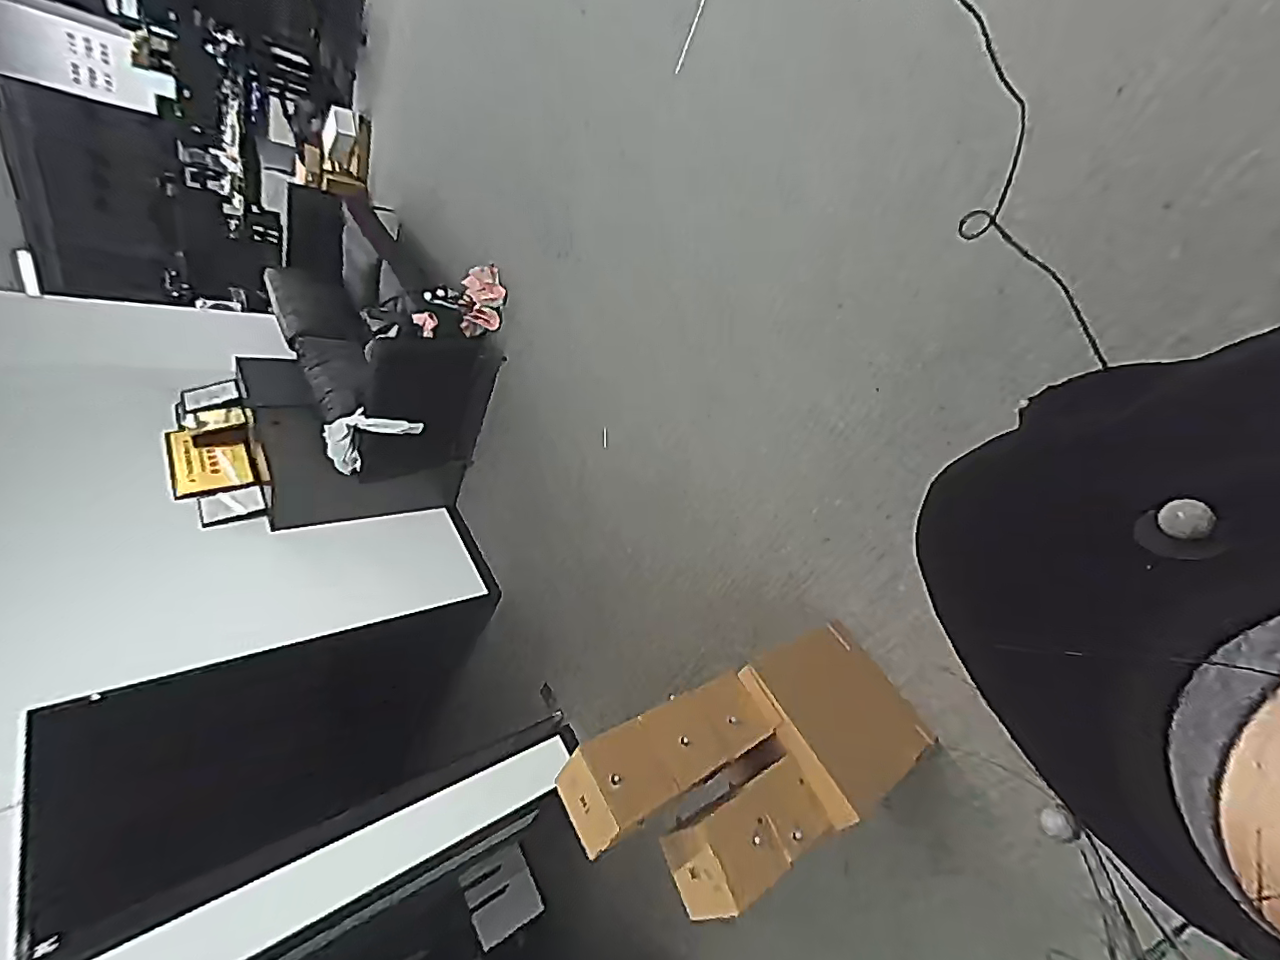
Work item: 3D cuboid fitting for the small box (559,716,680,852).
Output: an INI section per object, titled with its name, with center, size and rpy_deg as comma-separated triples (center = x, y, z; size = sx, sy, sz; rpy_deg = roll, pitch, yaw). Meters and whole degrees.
[small box]
center = -0.043, 0.651, 1.172
size = 0.179, 0.176, 0.168
rpy_deg = 53, 130, 31
